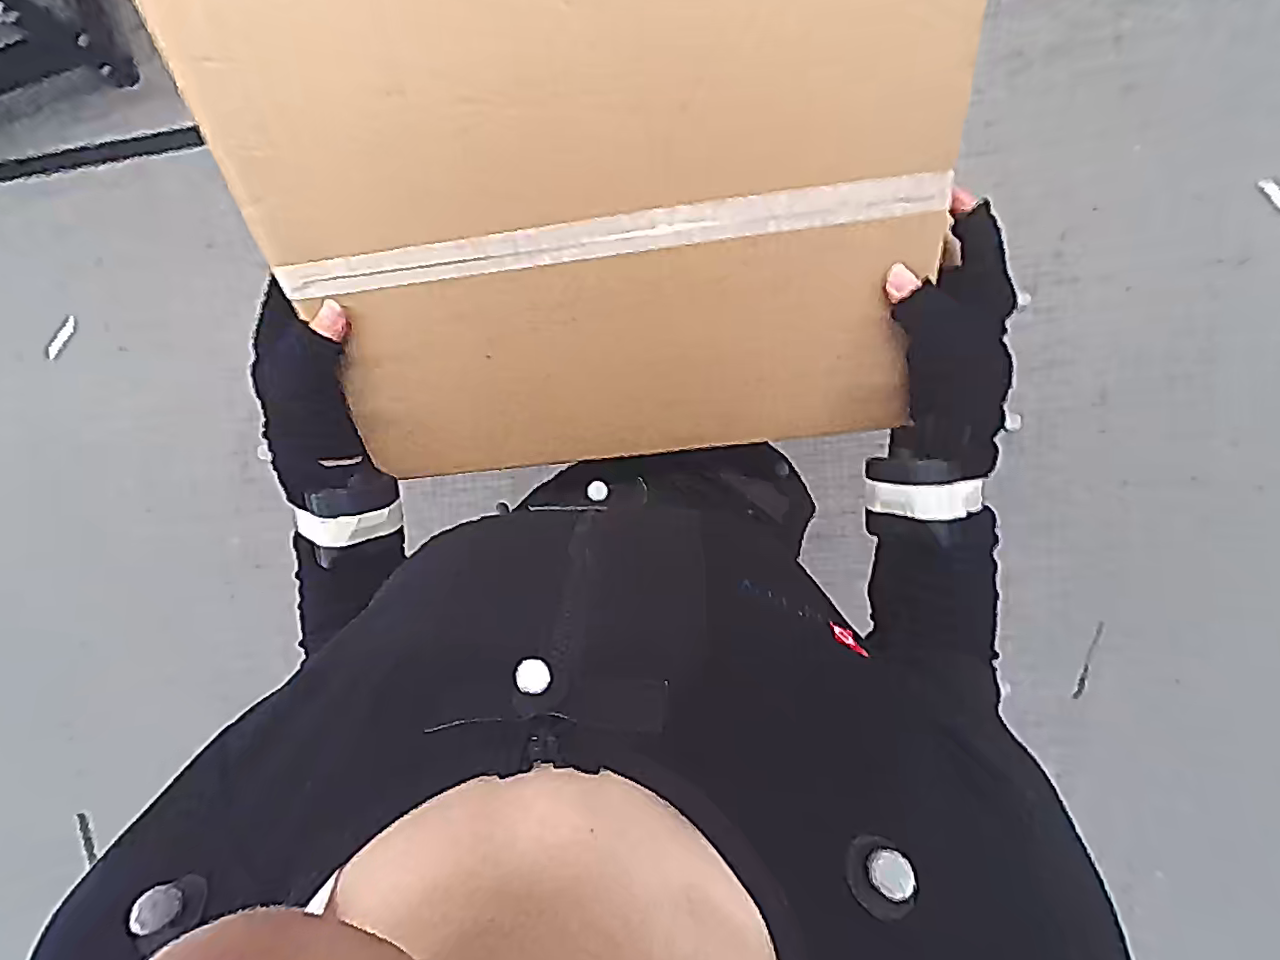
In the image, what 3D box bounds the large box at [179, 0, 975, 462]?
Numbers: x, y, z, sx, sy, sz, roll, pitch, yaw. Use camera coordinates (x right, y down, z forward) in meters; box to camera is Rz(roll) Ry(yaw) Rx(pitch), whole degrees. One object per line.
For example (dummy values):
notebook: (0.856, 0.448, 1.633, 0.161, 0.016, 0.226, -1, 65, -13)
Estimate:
large box: (-0.020, -0.244, 0.452, 0.408, 0.320, 0.320, -6, 127, 4)
